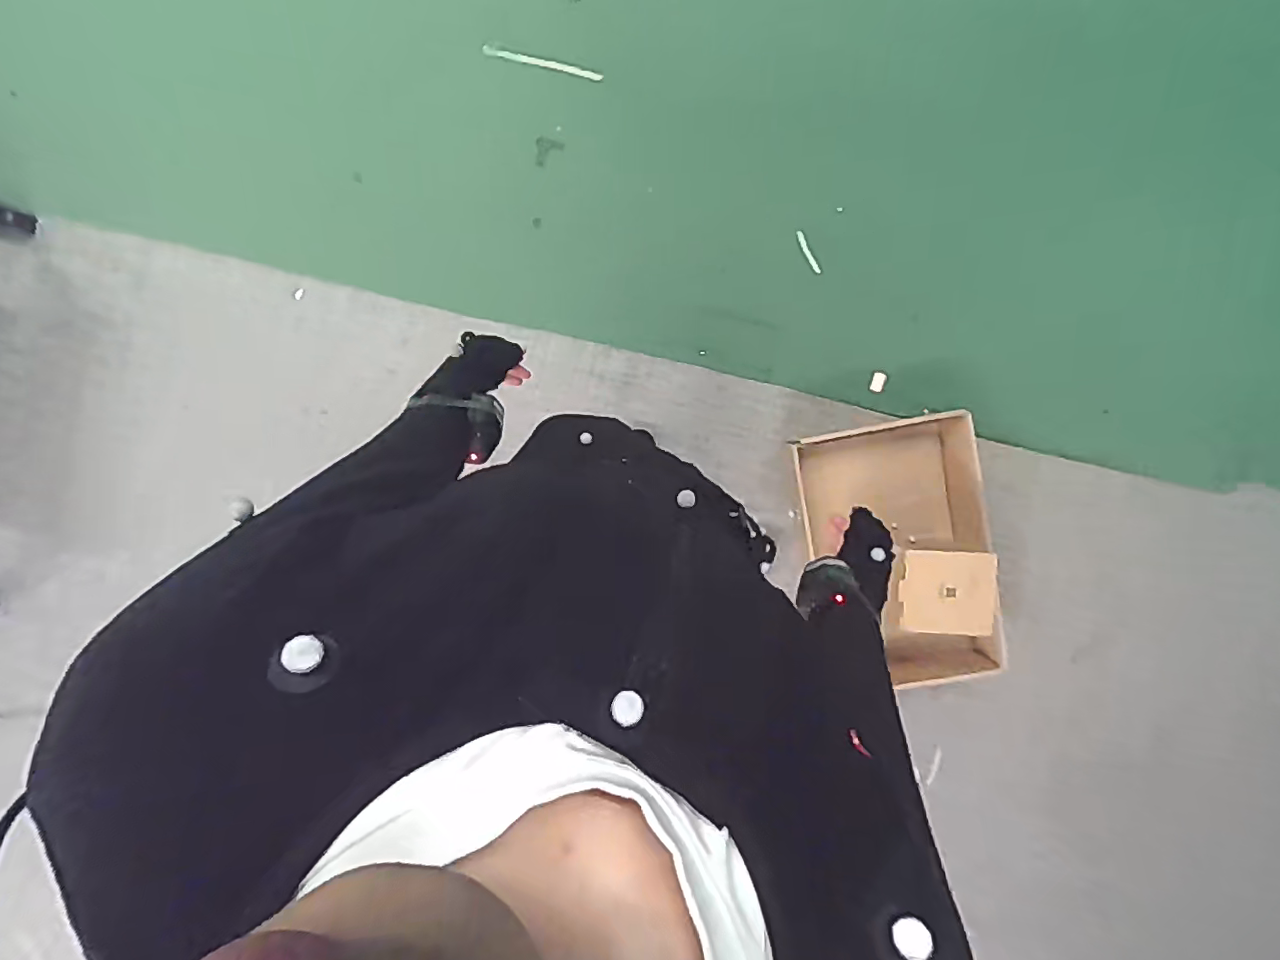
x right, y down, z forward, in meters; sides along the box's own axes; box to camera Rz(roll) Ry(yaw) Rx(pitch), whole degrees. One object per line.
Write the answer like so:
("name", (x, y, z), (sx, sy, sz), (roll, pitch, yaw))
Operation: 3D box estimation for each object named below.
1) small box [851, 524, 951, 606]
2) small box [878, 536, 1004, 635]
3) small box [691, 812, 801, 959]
("small box", (0.614, 0.199, 1.291), (0.179, 0.176, 0.168), (-3, 93, 3))
("small box", (0.617, 0.213, 1.129), (0.179, 0.176, 0.168), (1, 94, 2))
("small box", (0.206, 0.831, 1.109), (0.168, 0.176, 0.179), (21, 95, 4))
